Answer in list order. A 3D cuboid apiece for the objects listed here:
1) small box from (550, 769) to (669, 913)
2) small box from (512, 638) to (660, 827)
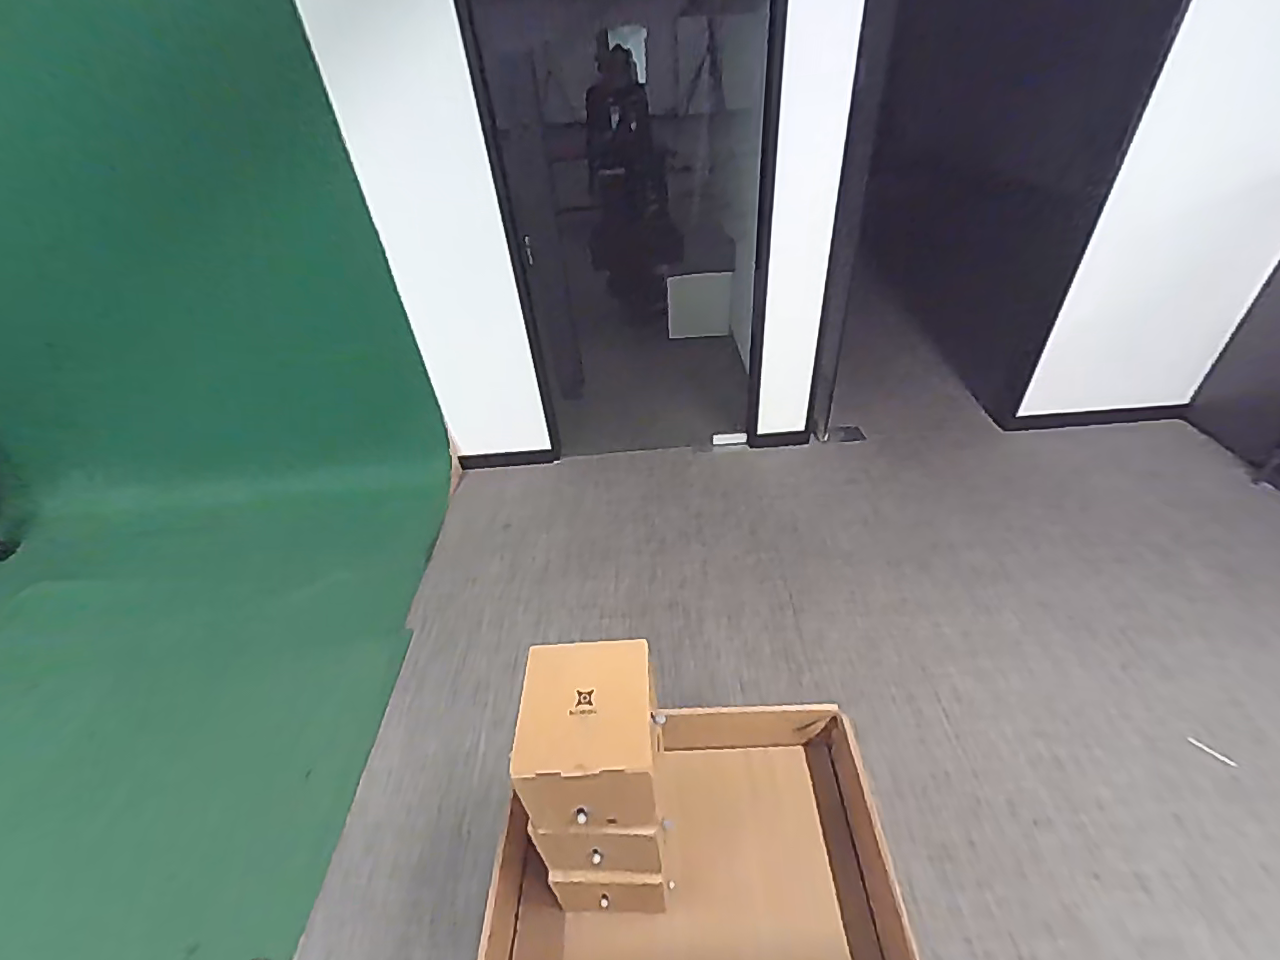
[{"bbox_3d":[-0.040,0.607,0.913,0.179,0.176,0.168,-2,38,4],"label":"small box"},{"bbox_3d":[-0.061,0.338,0.729,0.168,0.176,0.179,-4,39,2],"label":"small box"}]
